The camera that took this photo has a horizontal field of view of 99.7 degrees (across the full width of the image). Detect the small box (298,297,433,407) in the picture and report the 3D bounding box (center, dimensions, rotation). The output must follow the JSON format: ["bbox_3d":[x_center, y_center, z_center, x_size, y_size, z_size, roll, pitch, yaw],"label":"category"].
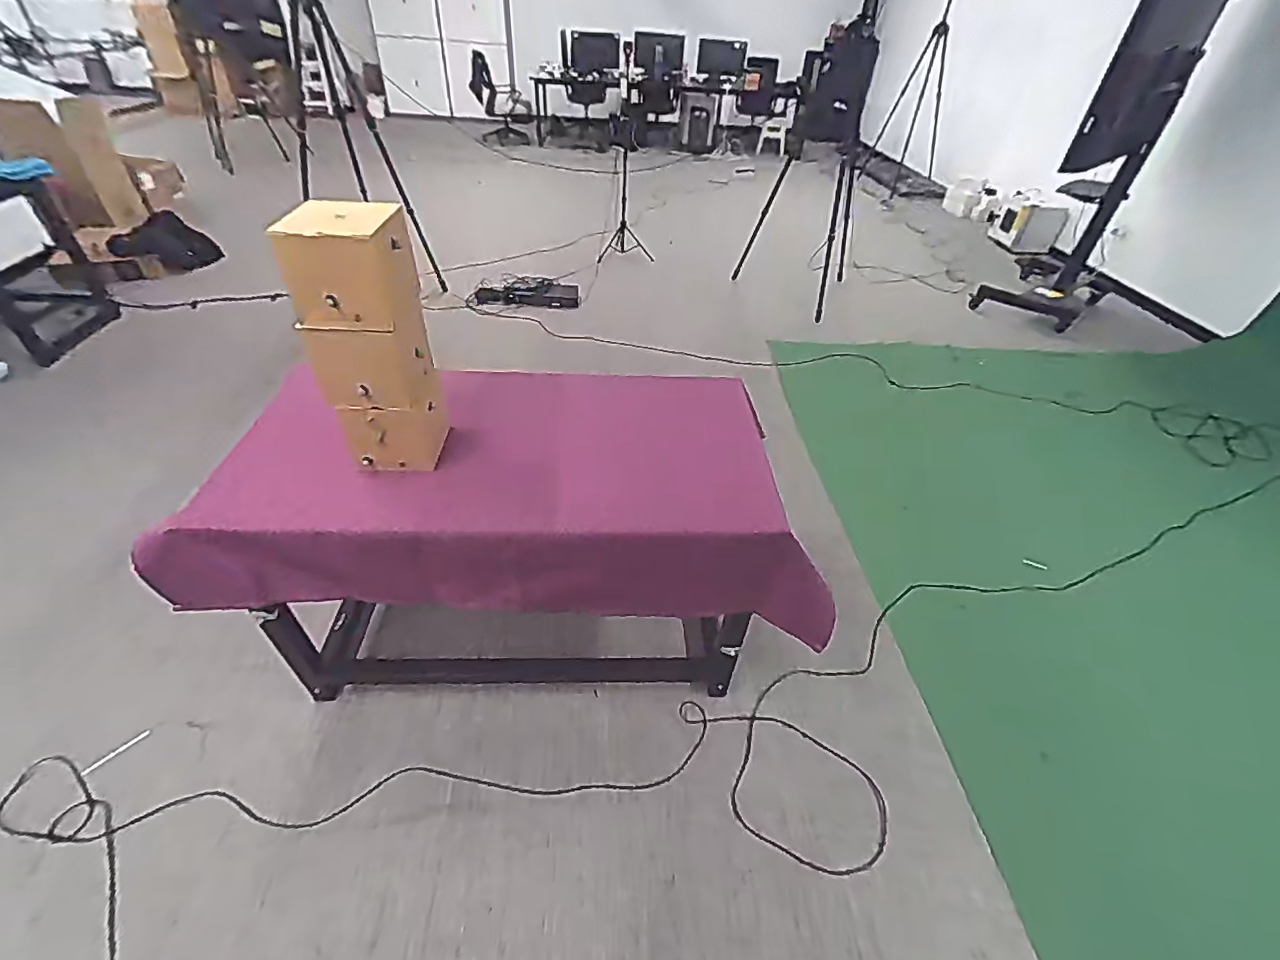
[{"bbox_3d":[-0.532,-0.260,1.080,0.179,0.176,0.168,2,41,-3],"label":"small box"}]

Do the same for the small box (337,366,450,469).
[{"bbox_3d":[-0.529,-0.138,1.191,0.168,0.176,0.179,1,41,-4],"label":"small box"}]

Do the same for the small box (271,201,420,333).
[{"bbox_3d":[-0.513,-0.385,0.976,0.168,0.176,0.179,1,42,-3],"label":"small box"}]
